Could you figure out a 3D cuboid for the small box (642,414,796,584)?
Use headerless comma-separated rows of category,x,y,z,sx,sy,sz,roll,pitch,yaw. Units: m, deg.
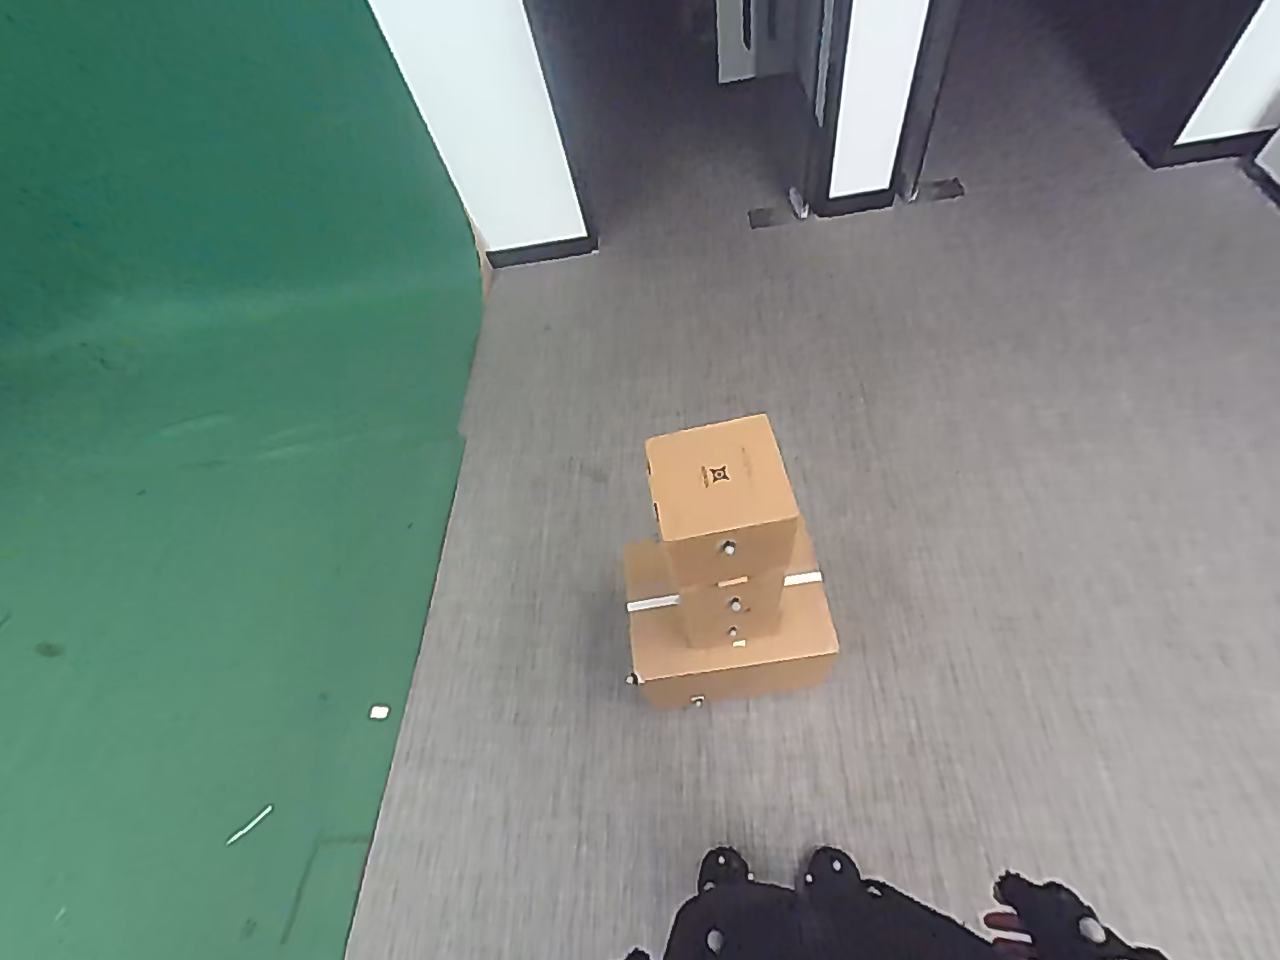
small box,0.110,0.035,0.771,0.179,0.176,0.168,-11,58,3

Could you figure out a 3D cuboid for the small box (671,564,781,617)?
small box,0.133,0.120,0.909,0.168,0.176,0.179,-13,57,4

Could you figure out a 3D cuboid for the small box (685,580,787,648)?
small box,0.166,0.208,1.042,0.179,0.176,0.168,-14,57,2
